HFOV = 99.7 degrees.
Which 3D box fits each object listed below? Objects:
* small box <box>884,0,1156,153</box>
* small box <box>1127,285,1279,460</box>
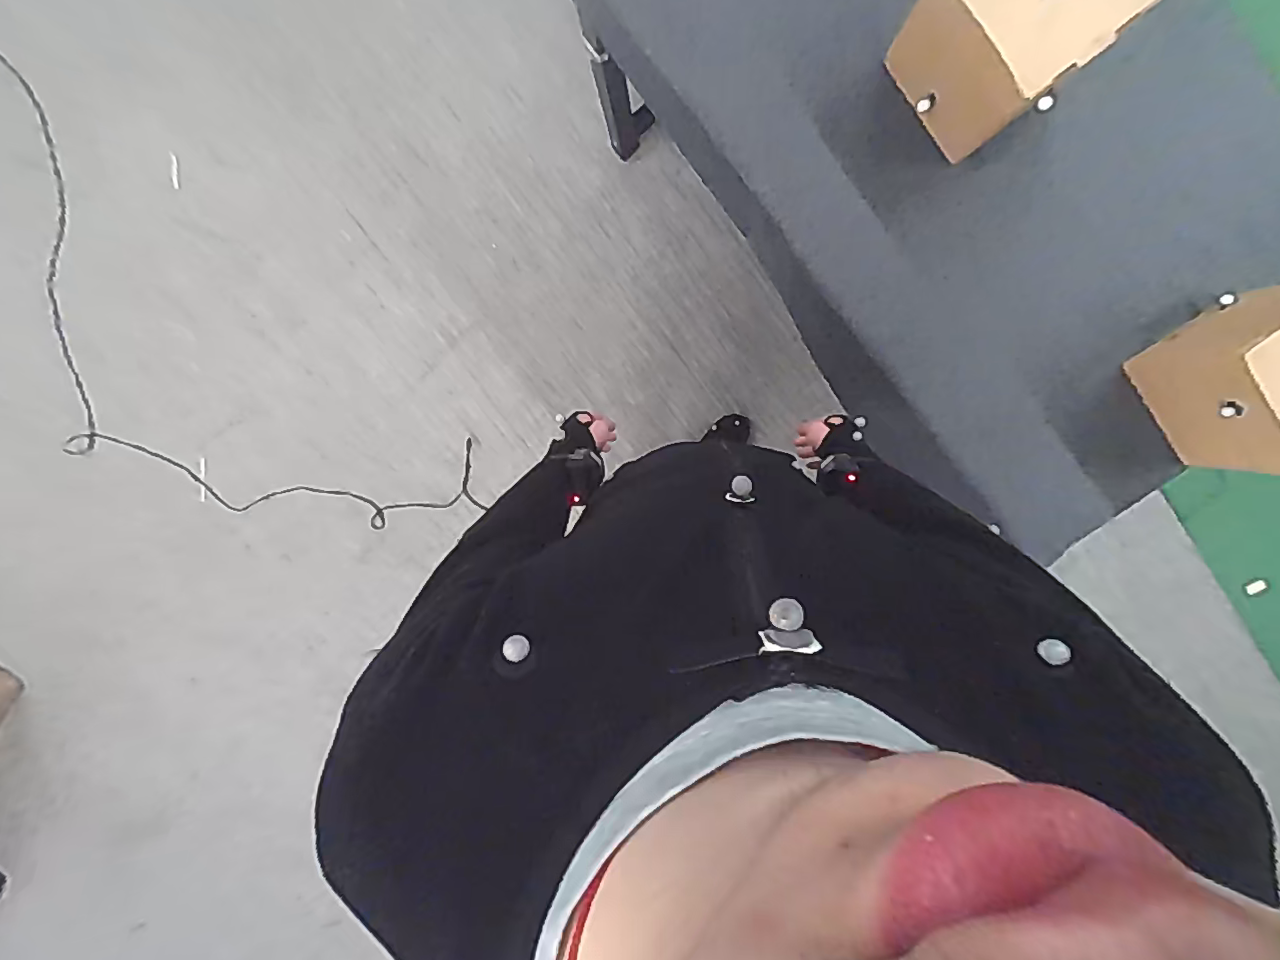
[{"bbox_3d":[0.438,-0.538,0.655,0.168,0.176,0.179,-38,95,5],"label":"small box"},{"bbox_3d":[0.796,-0.136,0.691,0.168,0.176,0.179,-36,95,6],"label":"small box"}]
